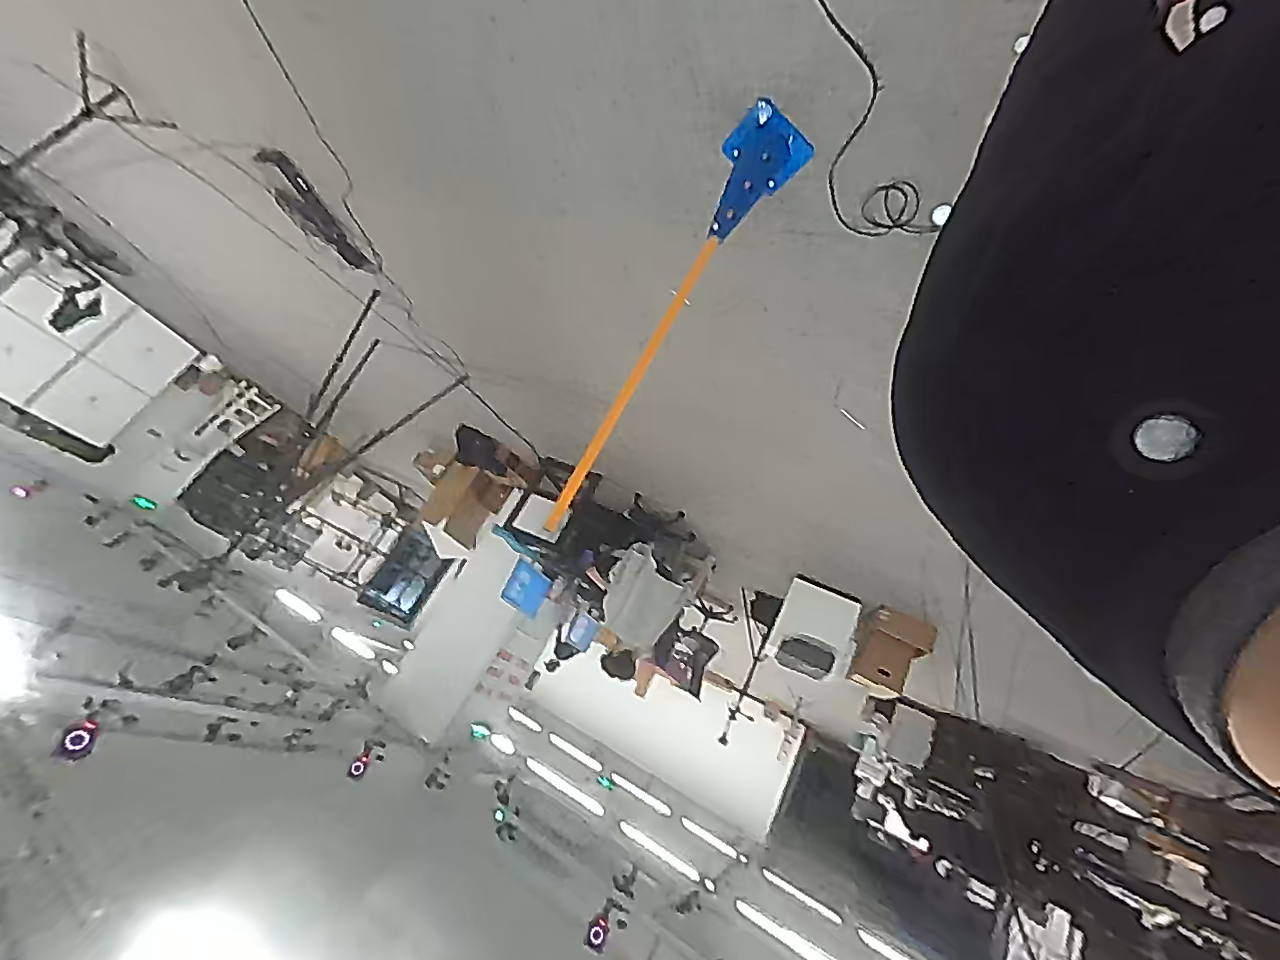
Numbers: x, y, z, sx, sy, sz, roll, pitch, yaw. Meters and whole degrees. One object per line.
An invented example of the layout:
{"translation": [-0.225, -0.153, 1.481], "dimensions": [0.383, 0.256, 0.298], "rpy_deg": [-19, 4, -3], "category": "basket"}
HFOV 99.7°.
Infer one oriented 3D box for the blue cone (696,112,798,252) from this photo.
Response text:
{"translation": [0.248, -0.741, 1.426], "dimensions": [0.192, 0.380, 0.193], "rpy_deg": [34, 161, -16], "category": "blue cone"}
